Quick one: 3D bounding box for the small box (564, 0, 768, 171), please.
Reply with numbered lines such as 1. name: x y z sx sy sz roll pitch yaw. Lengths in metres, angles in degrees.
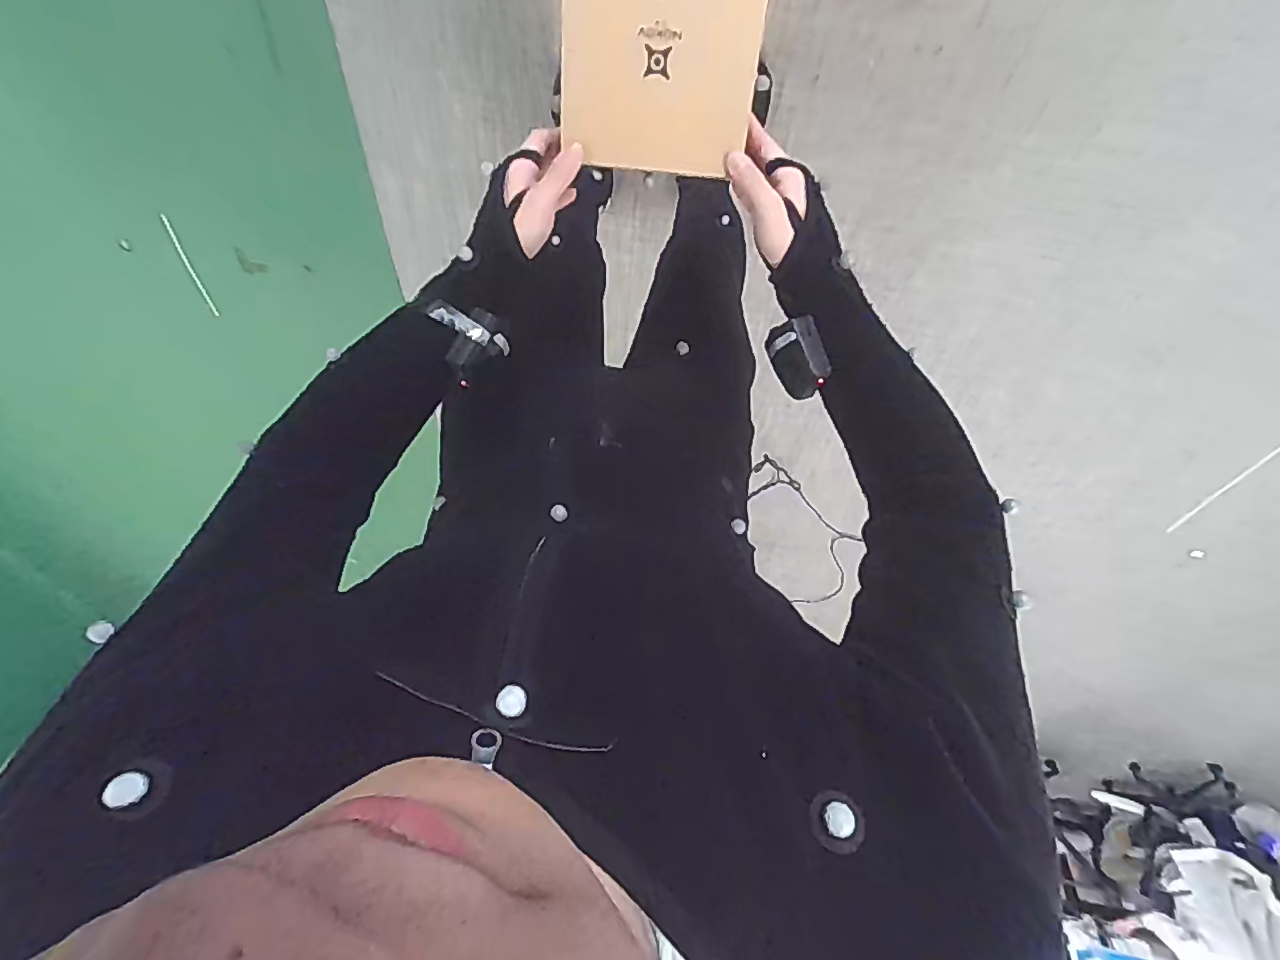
1. small box: 0.025 -0.408 0.523 0.168 0.176 0.179 7 120 0
